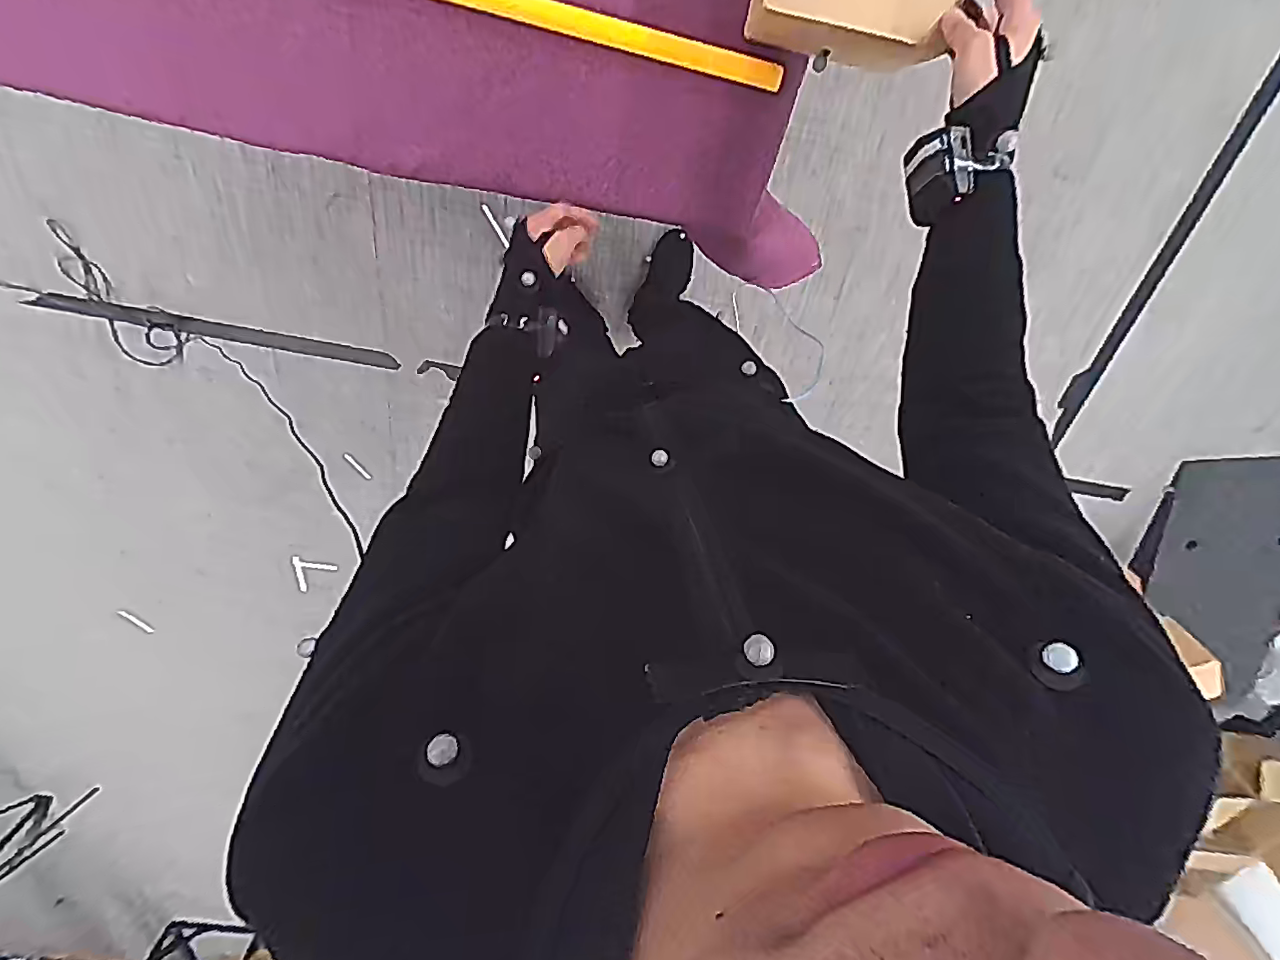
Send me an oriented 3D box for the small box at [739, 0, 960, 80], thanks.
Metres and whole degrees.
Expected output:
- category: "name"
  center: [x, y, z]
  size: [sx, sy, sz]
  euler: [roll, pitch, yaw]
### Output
- category: "small box"
  center: [0.207, -0.507, 0.522]
  size: [0.179, 0.176, 0.168]
  euler: [12, 122, -3]
